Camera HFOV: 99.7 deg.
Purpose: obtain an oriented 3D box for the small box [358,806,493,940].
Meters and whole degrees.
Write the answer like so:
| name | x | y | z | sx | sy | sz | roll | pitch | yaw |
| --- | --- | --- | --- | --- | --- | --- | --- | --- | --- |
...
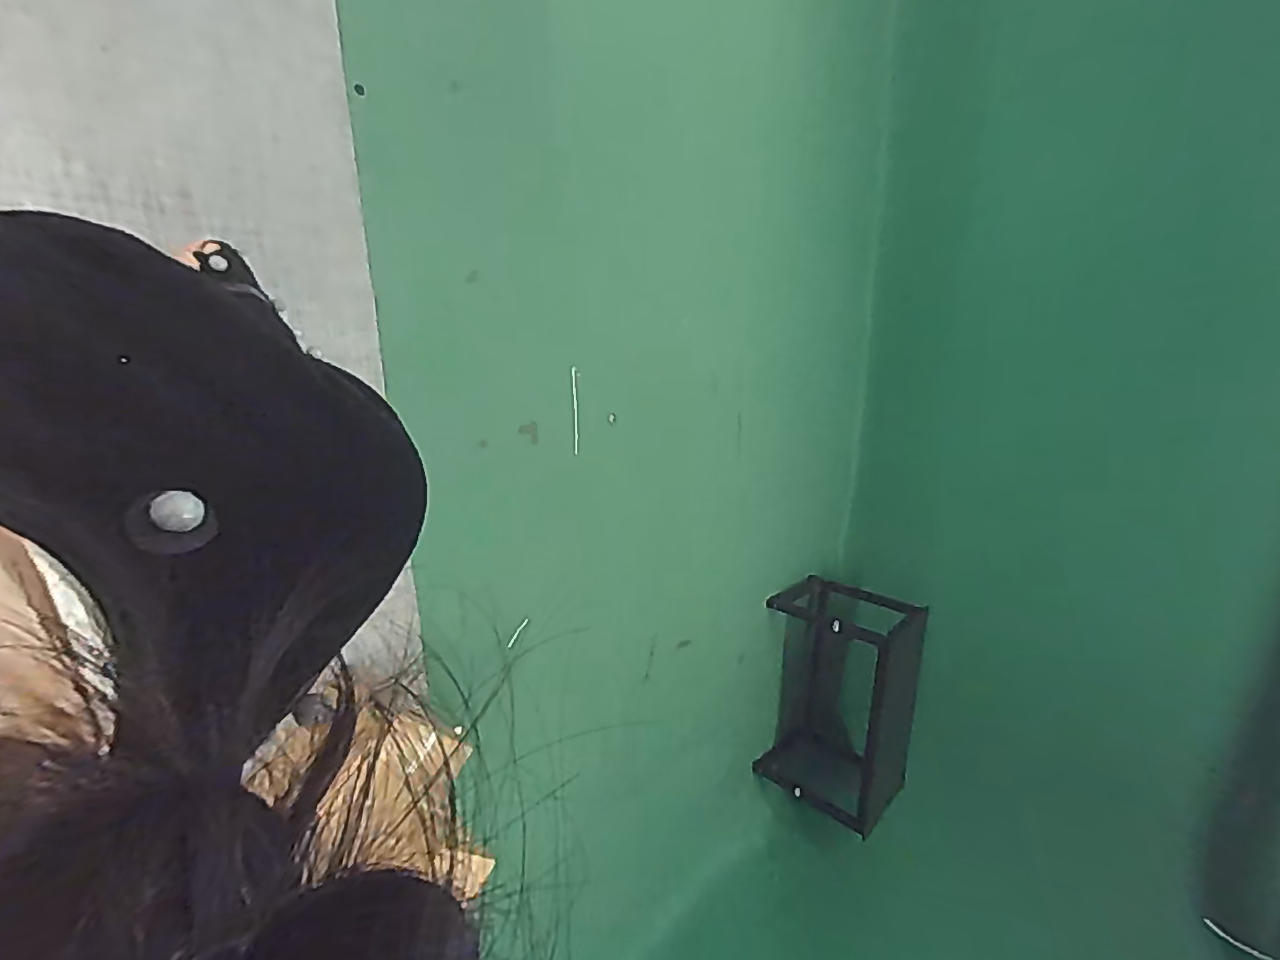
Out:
| name | x | y | z | sx | sy | sz | roll | pitch | yaw |
| --- | --- | --- | --- | --- | --- | --- | --- | --- | --- |
| small box | -0.462 | 0.841 | 1.166 | 0.168 | 0.176 | 0.179 | -57 | 134 | -22 |

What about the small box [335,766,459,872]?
| name | x | y | z | sx | sy | sz | roll | pitch | yaw |
| --- | --- | --- | --- | --- | --- | --- | --- | --- | --- |
| small box | -0.575 | 0.815 | 1.281 | 0.168 | 0.176 | 0.179 | -54 | 132 | -24 |
